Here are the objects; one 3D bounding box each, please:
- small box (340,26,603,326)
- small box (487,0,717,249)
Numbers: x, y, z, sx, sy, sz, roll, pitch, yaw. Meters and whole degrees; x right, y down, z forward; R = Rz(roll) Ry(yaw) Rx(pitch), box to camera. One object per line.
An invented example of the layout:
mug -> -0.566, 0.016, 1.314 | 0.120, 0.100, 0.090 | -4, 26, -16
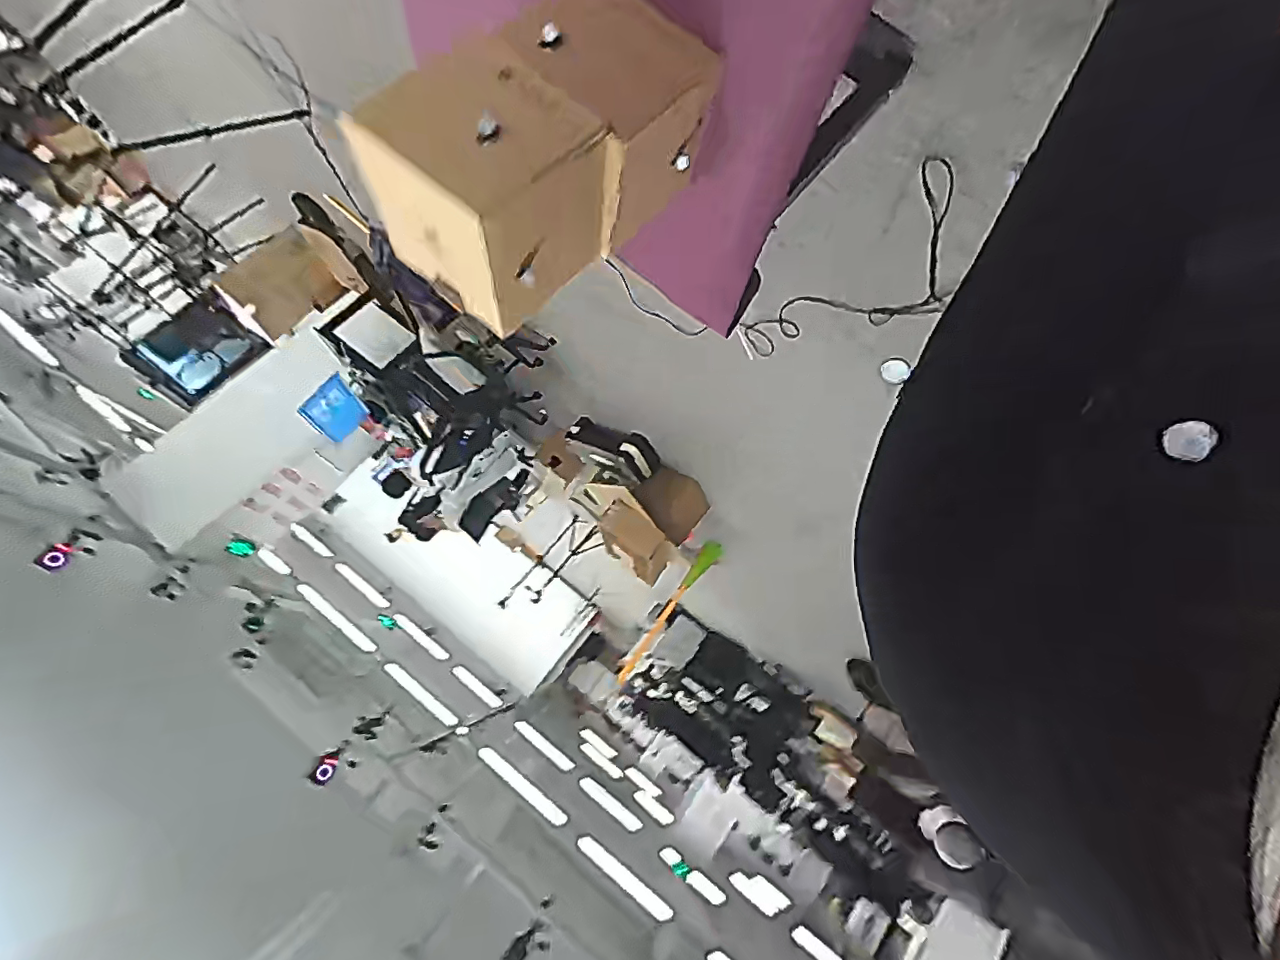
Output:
small box -> -0.153, -0.304, 0.552 | 0.168, 0.176, 0.179 | 38, 161, 6
small box -> -0.046, -0.413, 0.610 | 0.179, 0.176, 0.168 | 39, 161, 2
